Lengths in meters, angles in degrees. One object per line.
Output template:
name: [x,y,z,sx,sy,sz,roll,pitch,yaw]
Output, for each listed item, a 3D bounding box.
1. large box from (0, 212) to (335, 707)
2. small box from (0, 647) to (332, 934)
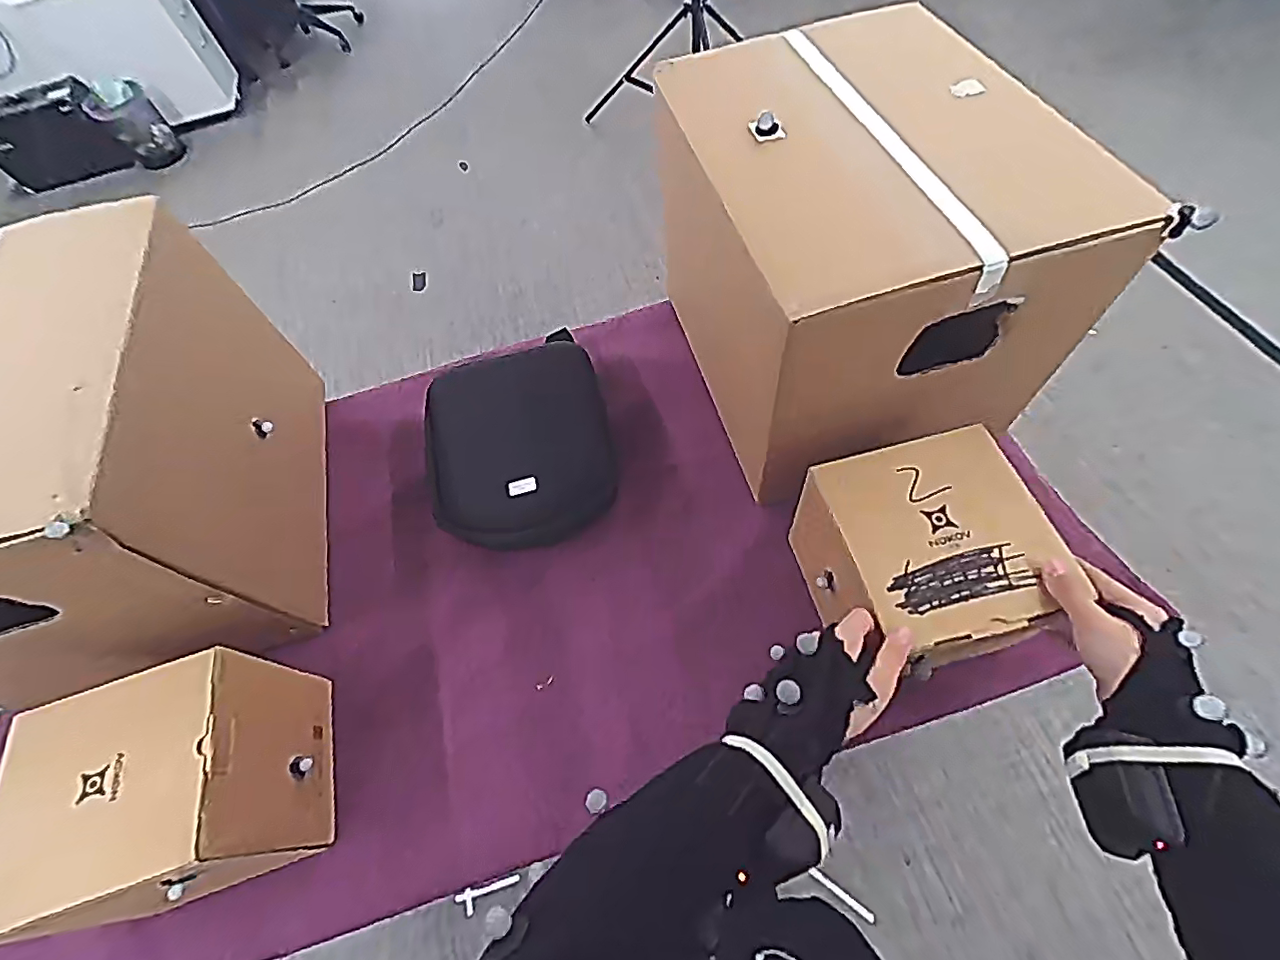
large box: [-0.580,-0.010,0.600,0.320,0.320,0.408,-18,62,-5]
small box: [-0.418,0.280,0.498,0.179,0.176,0.168,-19,59,-5]
